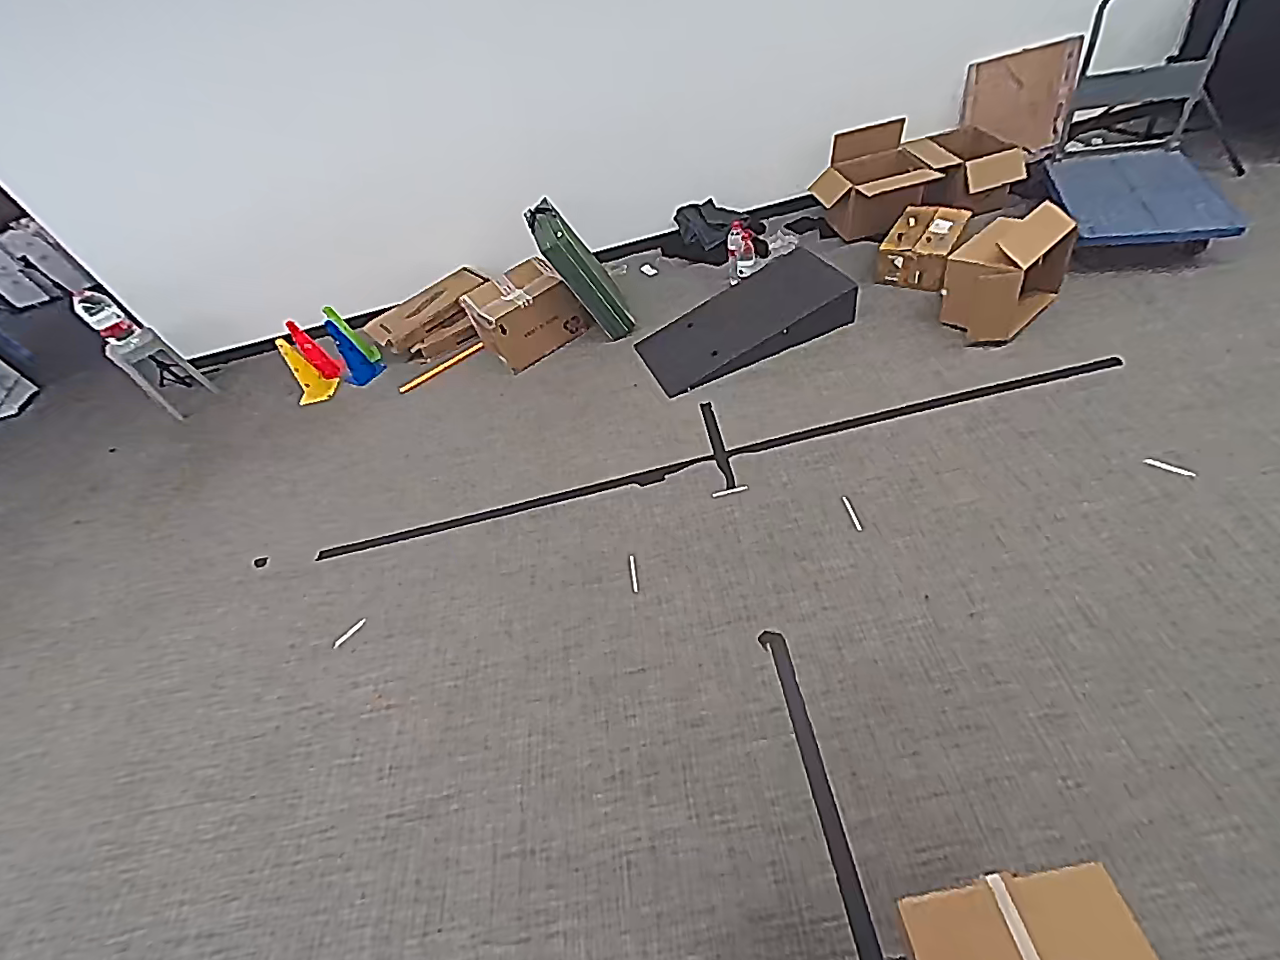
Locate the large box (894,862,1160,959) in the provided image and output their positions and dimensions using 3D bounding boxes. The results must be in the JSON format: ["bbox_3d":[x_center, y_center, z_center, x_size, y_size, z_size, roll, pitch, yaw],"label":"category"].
[{"bbox_3d":[0.635,0.865,0.827,0.320,0.320,0.408,-19,48,9],"label":"large box"}]
